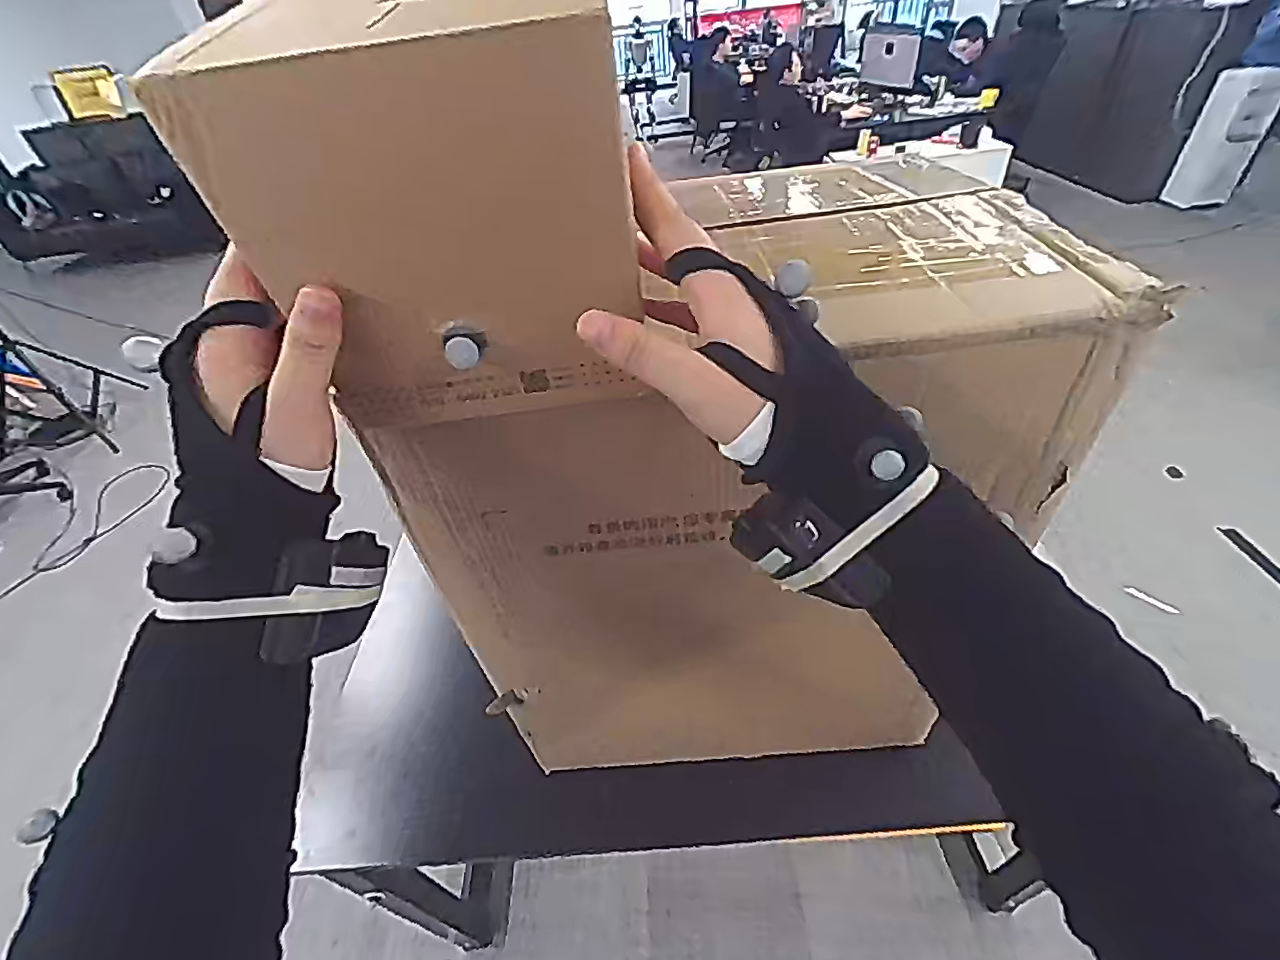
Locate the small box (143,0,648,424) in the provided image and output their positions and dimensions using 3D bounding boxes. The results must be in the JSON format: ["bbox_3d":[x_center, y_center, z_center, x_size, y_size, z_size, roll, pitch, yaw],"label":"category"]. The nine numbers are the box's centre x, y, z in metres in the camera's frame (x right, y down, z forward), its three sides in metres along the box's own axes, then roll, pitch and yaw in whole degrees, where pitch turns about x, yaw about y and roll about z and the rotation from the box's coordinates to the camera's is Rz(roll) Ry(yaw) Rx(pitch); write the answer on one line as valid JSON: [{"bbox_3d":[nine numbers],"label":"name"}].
[{"bbox_3d":[-0.088,-0.155,0.296,0.168,0.176,0.179,-7,50,2],"label":"small box"}]
